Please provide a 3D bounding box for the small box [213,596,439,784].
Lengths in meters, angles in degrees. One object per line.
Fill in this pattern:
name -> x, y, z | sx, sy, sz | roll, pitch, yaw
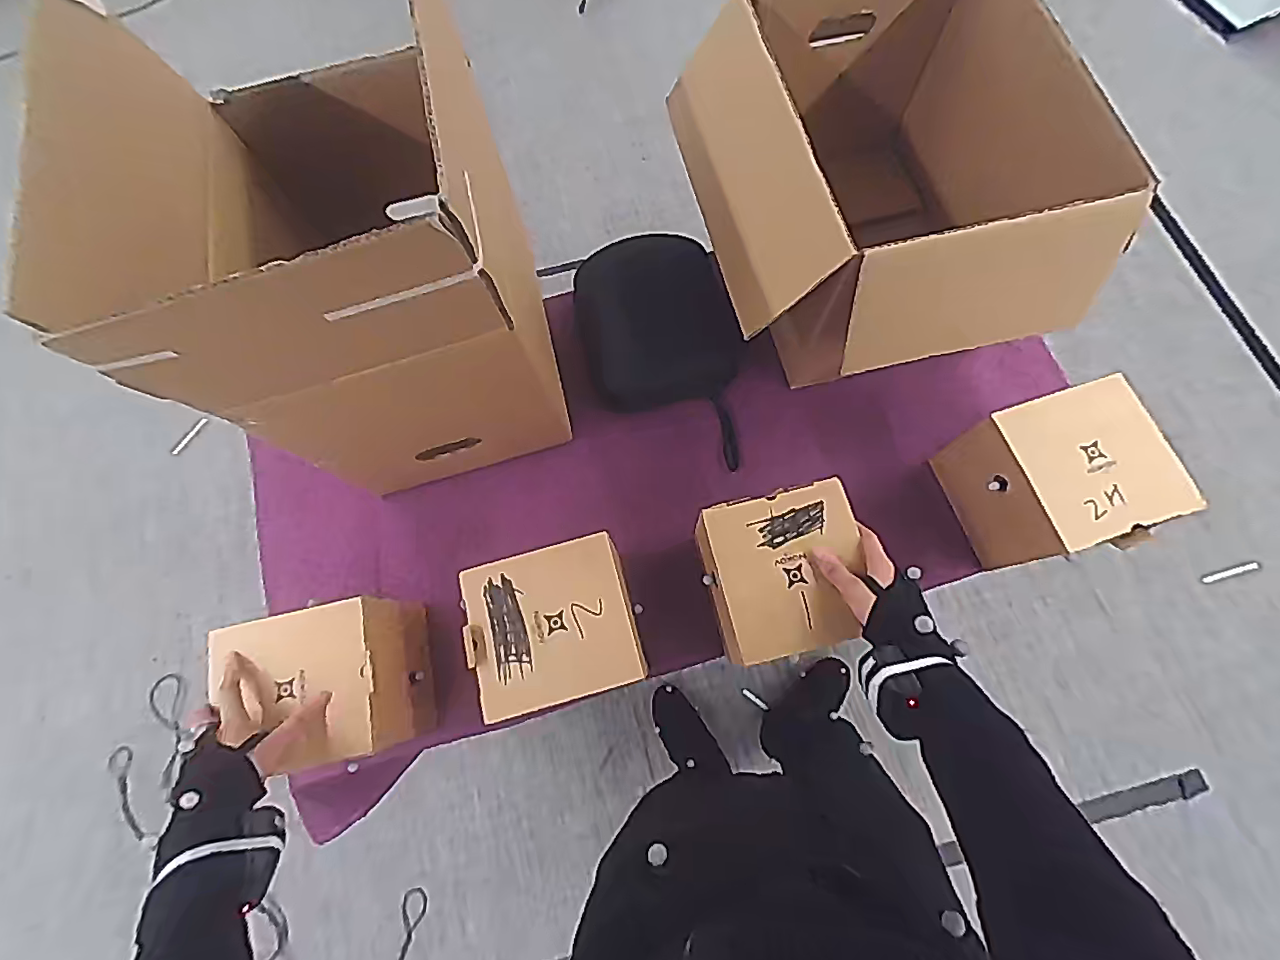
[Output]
small box -> -0.369, 0.247, 0.659 | 0.179, 0.176, 0.168 | -12, 74, -2

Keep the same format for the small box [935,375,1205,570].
small box -> 0.515, 0.001, 0.683 | 0.168, 0.176, 0.179 | -18, 74, -1
